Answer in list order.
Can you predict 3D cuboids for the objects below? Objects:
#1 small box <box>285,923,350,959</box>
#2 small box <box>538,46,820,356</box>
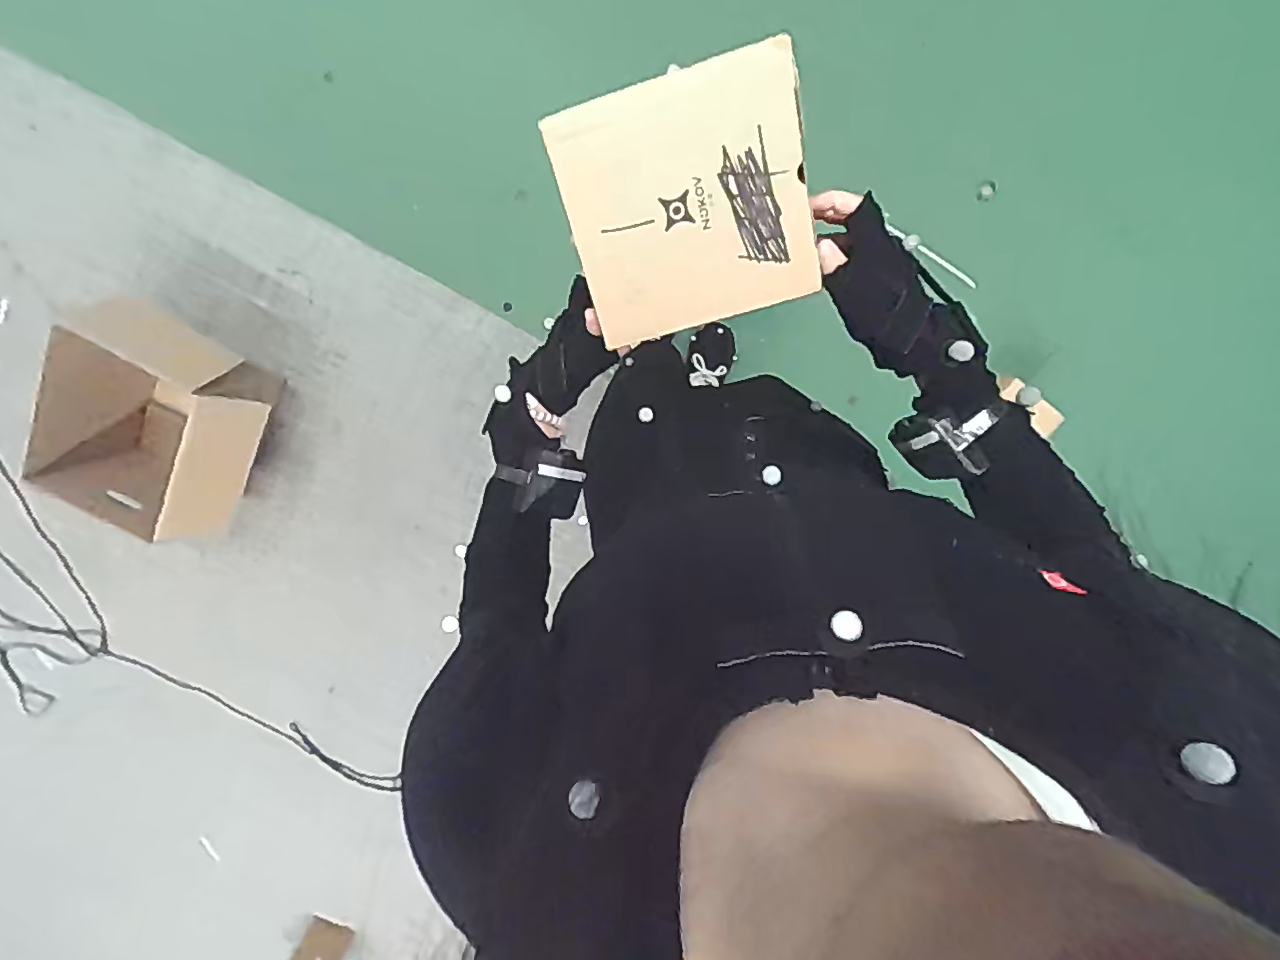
[{"bbox_3d":[-1.216,1.788,1.990,0.179,0.176,0.168,27,105,-8],"label":"small box"},{"bbox_3d":[0.034,-0.223,0.462,0.179,0.176,0.168,-14,112,8],"label":"small box"}]
